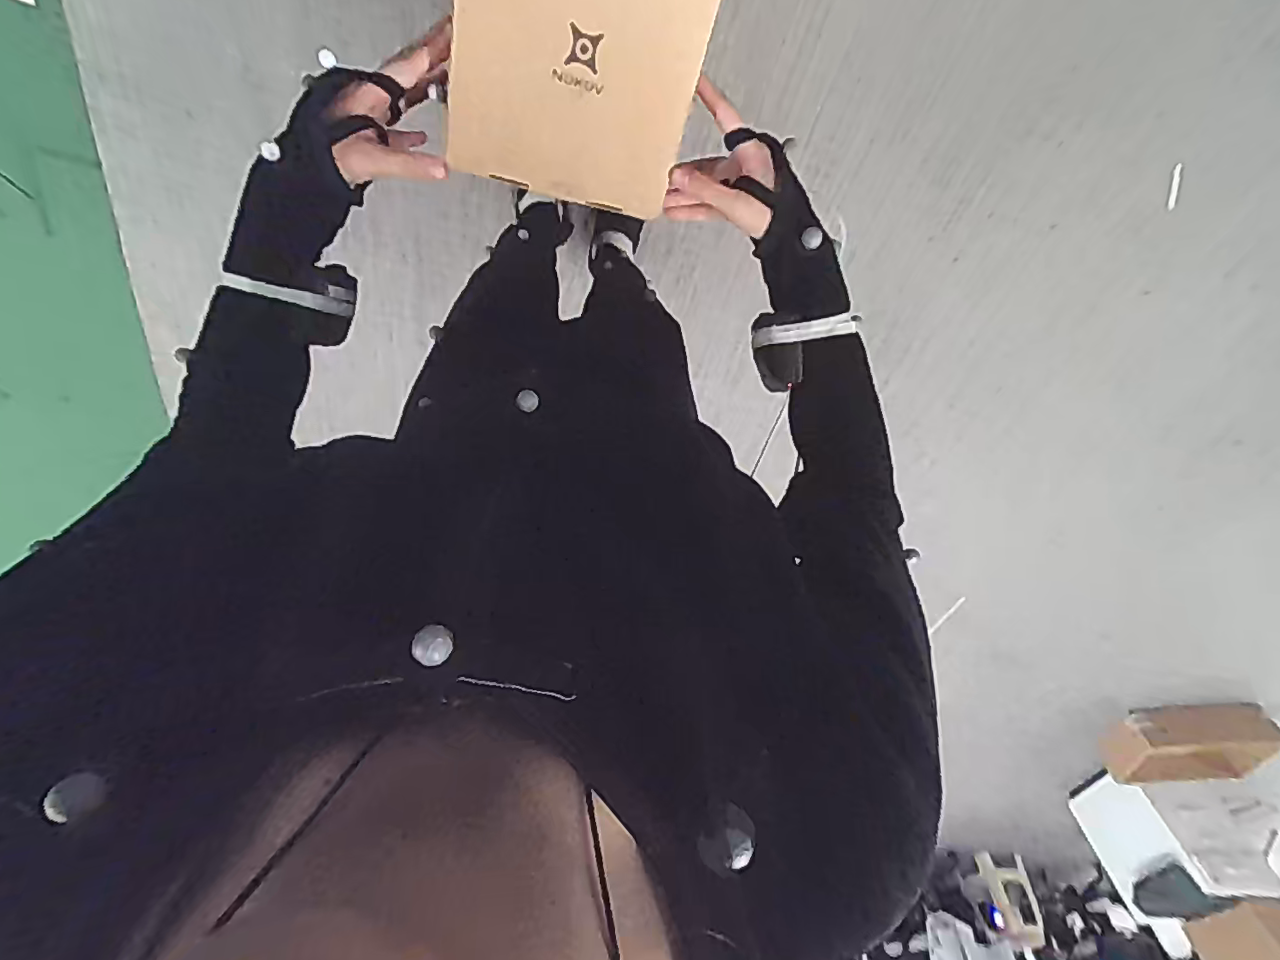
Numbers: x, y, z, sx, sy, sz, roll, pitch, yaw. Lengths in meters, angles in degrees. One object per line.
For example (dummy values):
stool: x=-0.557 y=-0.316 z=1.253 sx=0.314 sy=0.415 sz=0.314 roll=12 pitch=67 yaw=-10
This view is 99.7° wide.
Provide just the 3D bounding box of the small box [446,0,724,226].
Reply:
small box: x=-0.054 y=-0.329 z=0.417 sx=0.168 sy=0.176 sz=0.179 roll=6 pitch=130 yaw=-19
